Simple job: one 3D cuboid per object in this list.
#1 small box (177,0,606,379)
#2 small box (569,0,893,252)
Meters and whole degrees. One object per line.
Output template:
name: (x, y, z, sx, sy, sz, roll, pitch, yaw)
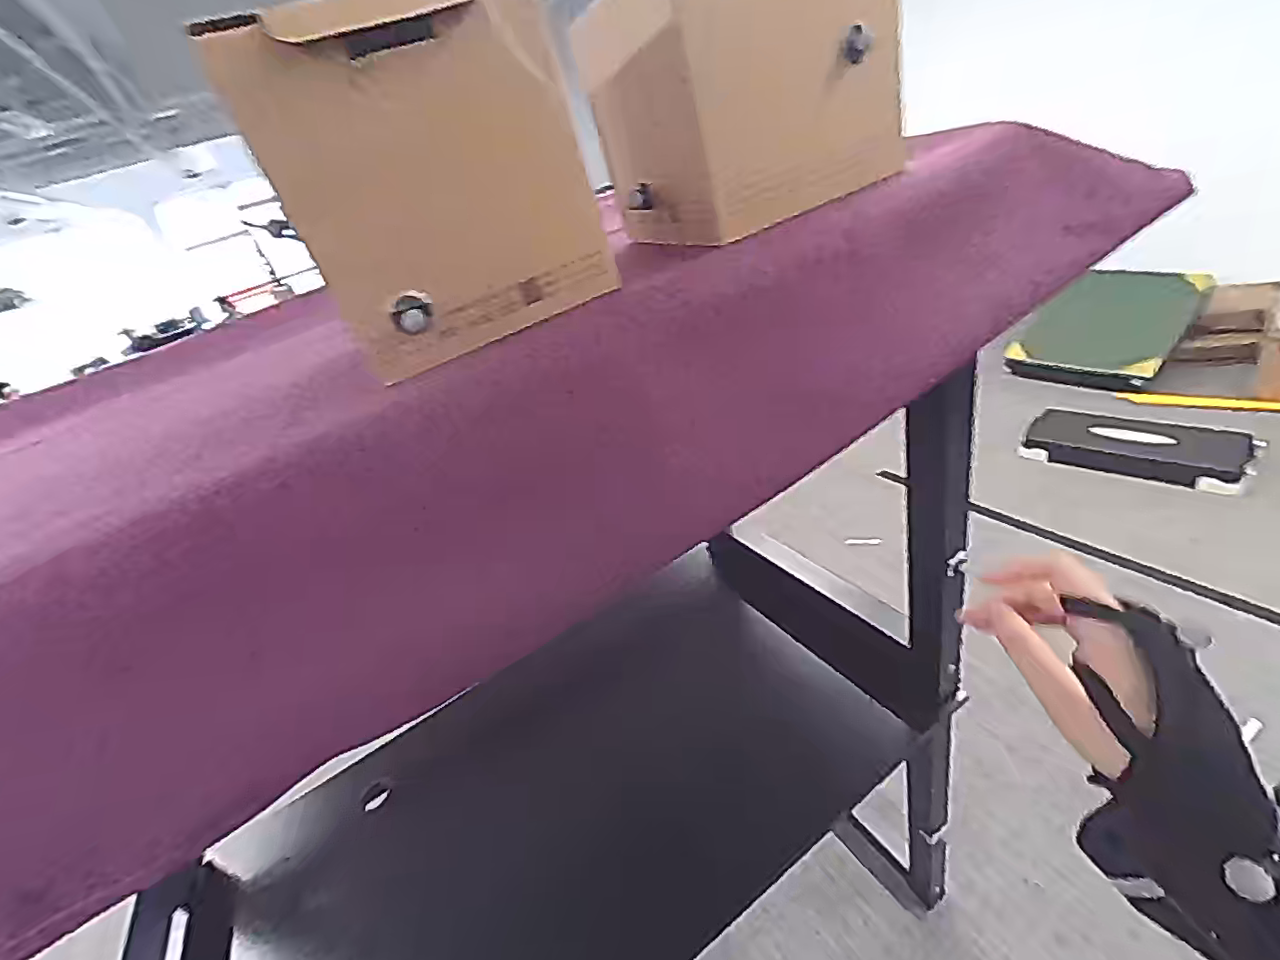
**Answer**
small box: (-0.144, -0.182, 0.356, 0.168, 0.176, 0.179, -29, 32, -18)
small box: (0.072, -0.293, 0.419, 0.179, 0.176, 0.168, -28, 31, -14)
